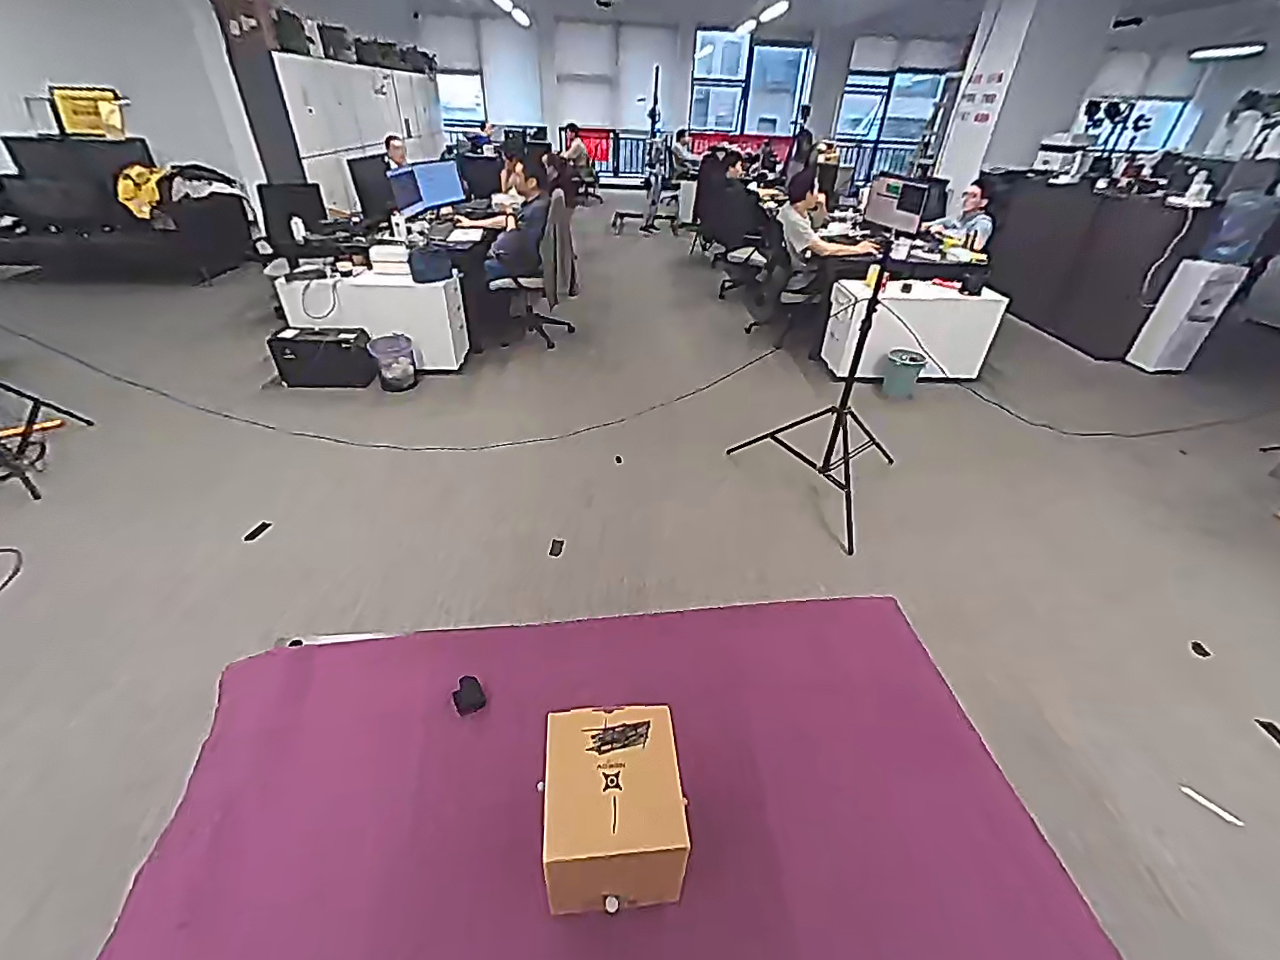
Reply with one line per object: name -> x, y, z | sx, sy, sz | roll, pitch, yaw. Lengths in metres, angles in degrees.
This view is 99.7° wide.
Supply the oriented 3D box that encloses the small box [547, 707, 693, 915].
small box -> -0.032, 0.427, 0.708 | 0.168, 0.176, 0.179 | -2, 35, -6
